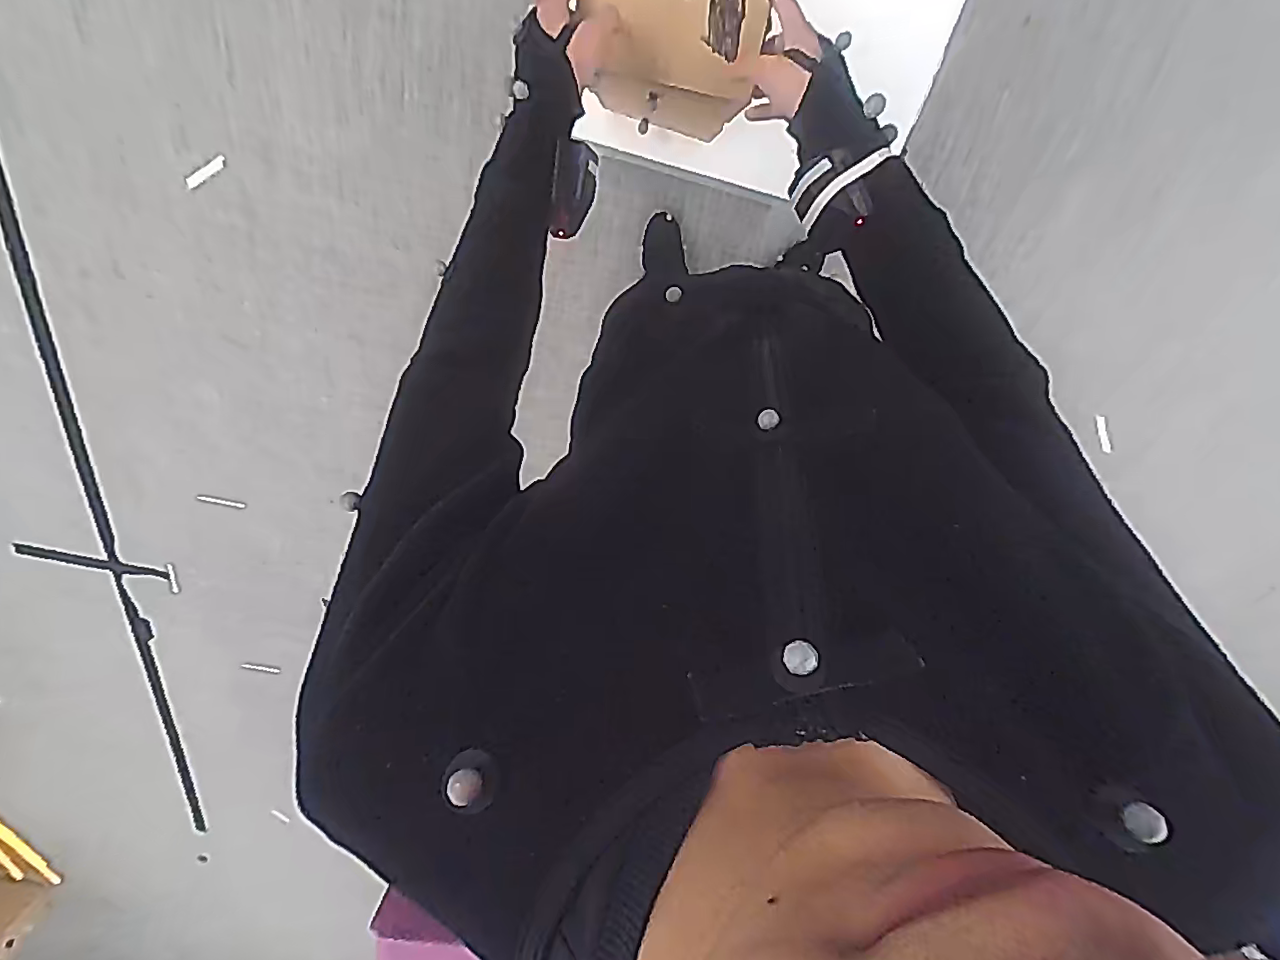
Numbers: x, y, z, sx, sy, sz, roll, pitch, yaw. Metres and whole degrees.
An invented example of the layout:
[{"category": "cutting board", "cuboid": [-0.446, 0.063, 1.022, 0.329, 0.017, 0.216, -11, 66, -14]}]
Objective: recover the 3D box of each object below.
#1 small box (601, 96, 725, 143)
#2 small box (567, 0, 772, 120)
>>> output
[{"category": "small box", "cuboid": [0.043, -0.554, 0.684, 0.168, 0.176, 0.179, 14, 117, -6]}, {"category": "small box", "cuboid": [0.034, -0.476, 0.538, 0.179, 0.176, 0.168, 10, 118, -3]}]
